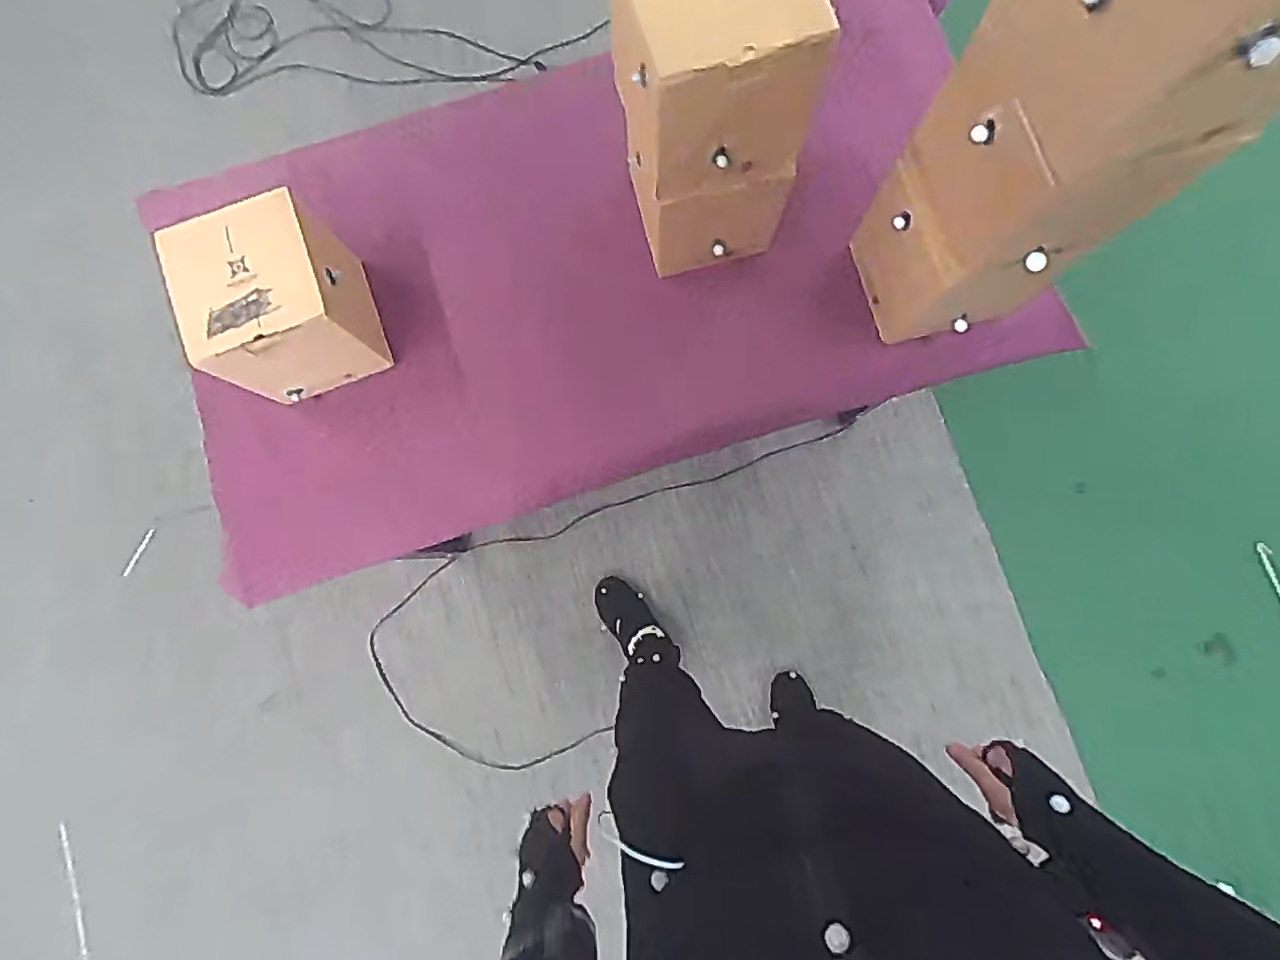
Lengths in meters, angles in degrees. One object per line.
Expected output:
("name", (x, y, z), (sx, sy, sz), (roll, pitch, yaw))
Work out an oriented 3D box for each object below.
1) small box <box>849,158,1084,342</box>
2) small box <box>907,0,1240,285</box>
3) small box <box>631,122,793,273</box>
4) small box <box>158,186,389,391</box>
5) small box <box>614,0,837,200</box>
("small box", (0.400, -0.300, 0.695), (0.179, 0.176, 0.168), (-14, 81, 0))
("small box", (0.396, -0.326, 0.534), (0.168, 0.176, 0.179), (-14, 82, 1))
("small box", (0.083, -0.409, 0.718), (0.168, 0.176, 0.179), (-14, 83, 0))
("small box", (-0.458, -0.231, 0.704), (0.168, 0.176, 0.179), (-20, 82, -2))
("small box", (0.071, -0.433, 0.558), (0.168, 0.176, 0.179), (-17, 83, -1))
